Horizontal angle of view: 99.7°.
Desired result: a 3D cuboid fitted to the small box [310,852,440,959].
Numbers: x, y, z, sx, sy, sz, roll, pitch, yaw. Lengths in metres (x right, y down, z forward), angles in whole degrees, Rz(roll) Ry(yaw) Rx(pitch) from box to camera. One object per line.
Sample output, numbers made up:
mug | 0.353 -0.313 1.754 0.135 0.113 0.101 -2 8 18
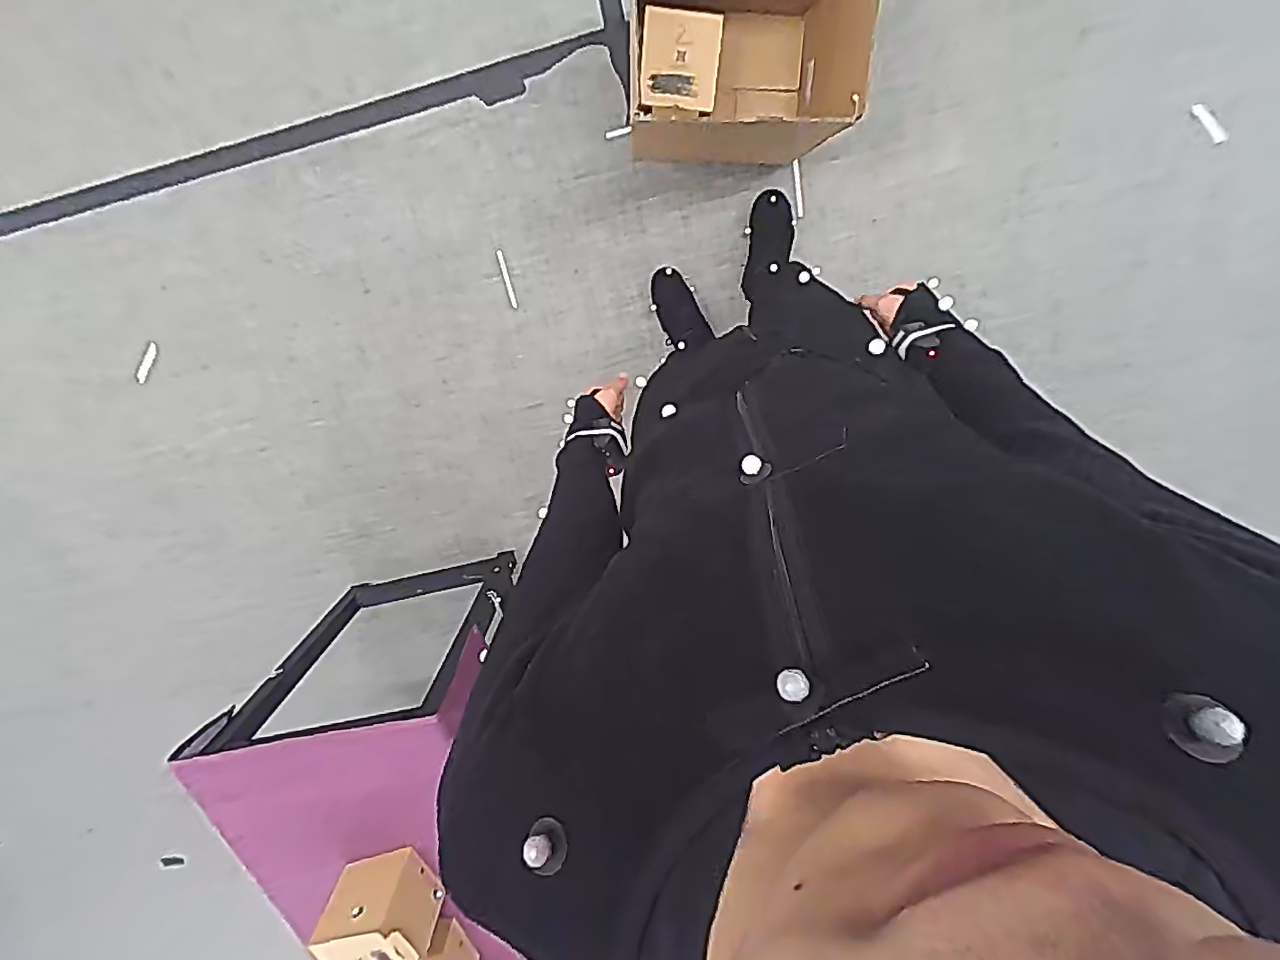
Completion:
small box | -0.565 0.961 1.190 0.179 0.176 0.168 -20 110 9

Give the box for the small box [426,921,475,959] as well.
small box | -0.509 1.190 1.280 0.179 0.176 0.168 -15 110 6
